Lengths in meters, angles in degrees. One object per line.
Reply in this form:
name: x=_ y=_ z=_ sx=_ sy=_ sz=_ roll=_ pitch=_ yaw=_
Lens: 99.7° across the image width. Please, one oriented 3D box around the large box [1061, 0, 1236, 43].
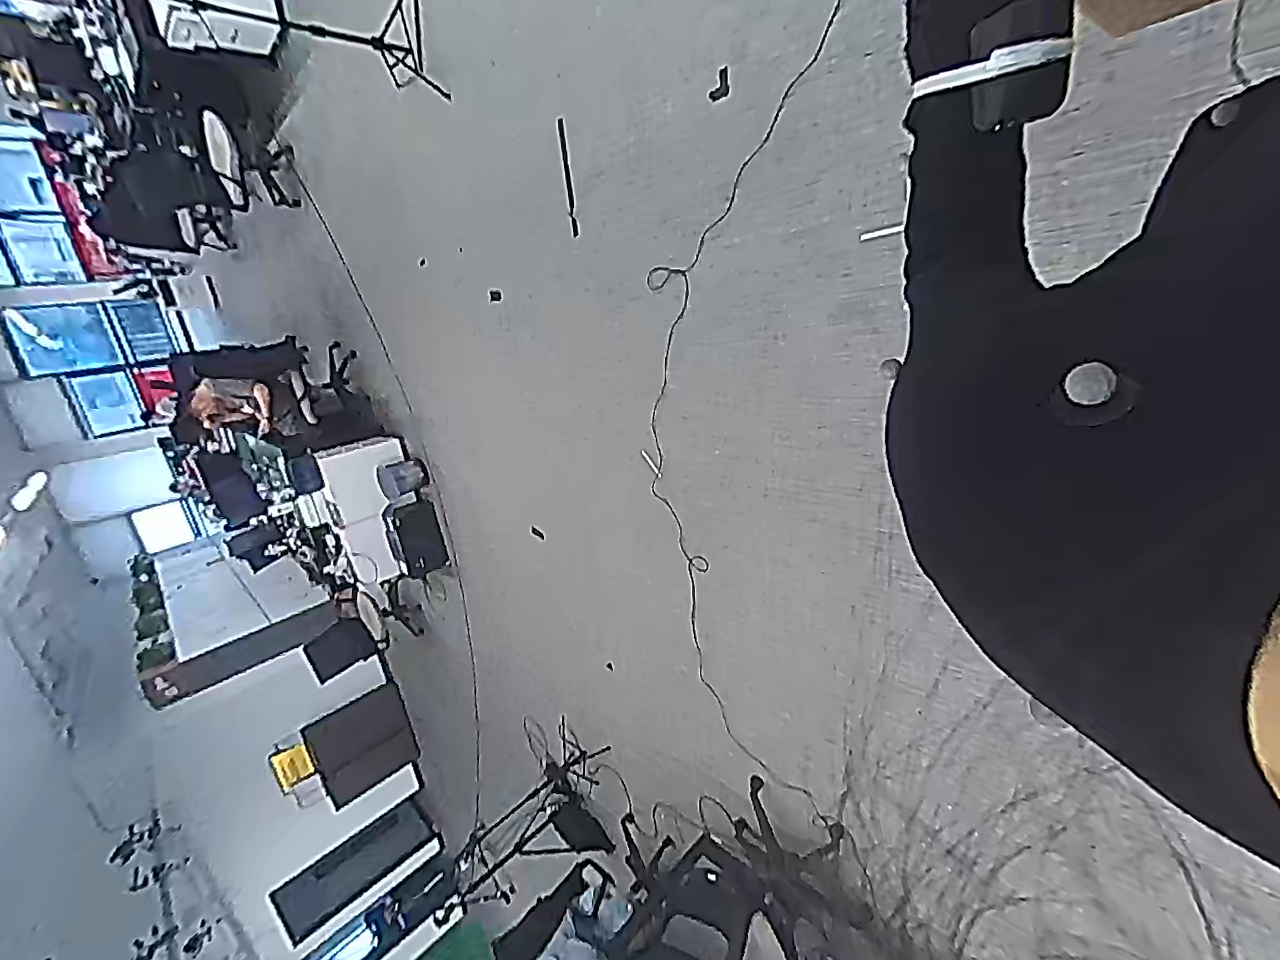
large box: x=0.435 y=-0.478 z=0.227 sx=0.408 sy=0.320 sz=0.320 roll=9 pitch=117 yaw=47
